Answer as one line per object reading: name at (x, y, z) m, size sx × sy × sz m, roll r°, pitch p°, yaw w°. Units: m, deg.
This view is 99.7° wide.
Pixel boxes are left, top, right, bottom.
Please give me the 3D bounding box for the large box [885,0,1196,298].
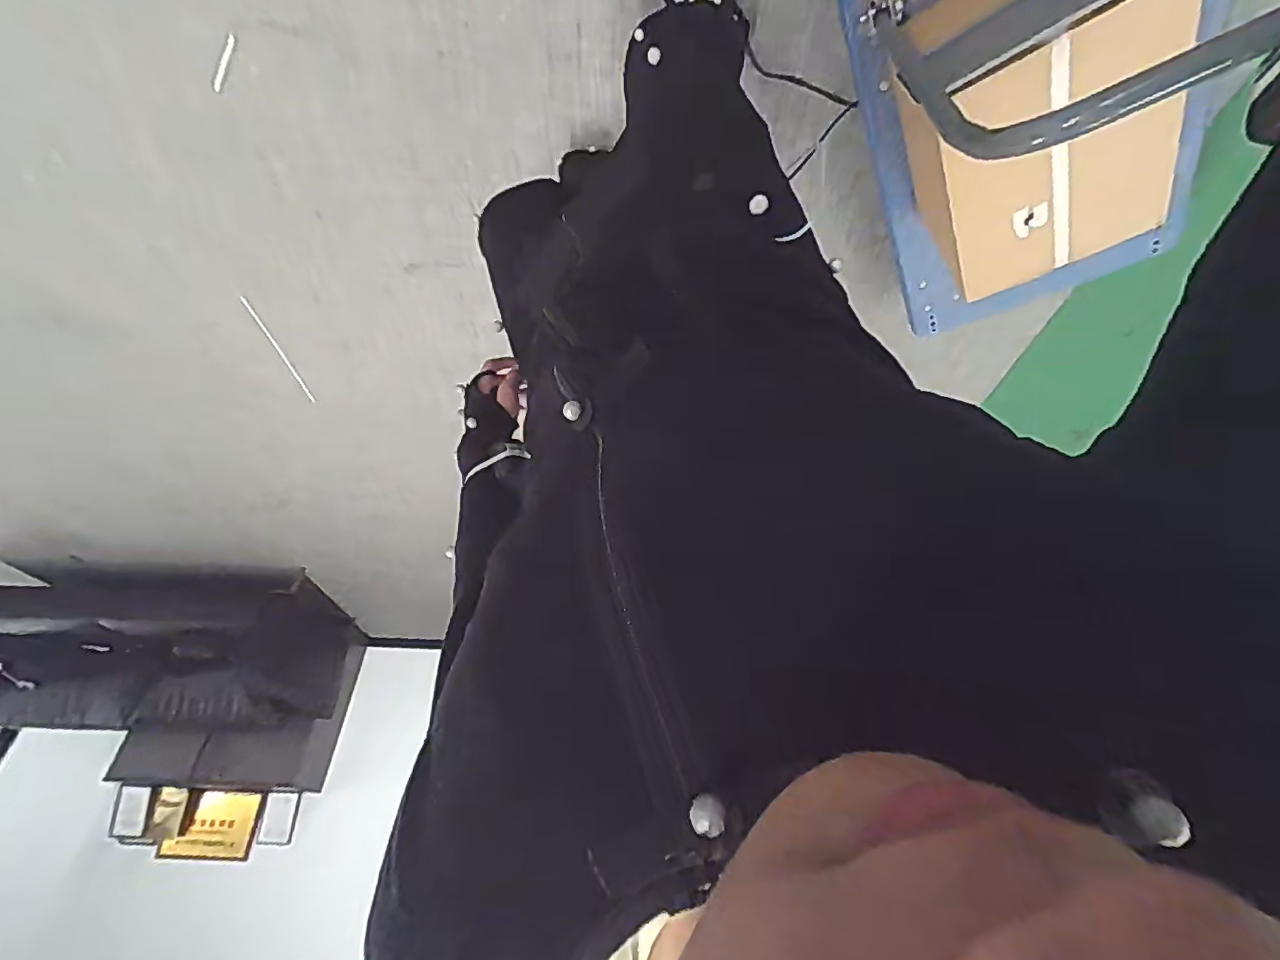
large box at (0.670, -0.621, 0.951) m, size 0.320 × 0.320 × 0.408 m, roll -19°, pitch 140°, yaw 26°
